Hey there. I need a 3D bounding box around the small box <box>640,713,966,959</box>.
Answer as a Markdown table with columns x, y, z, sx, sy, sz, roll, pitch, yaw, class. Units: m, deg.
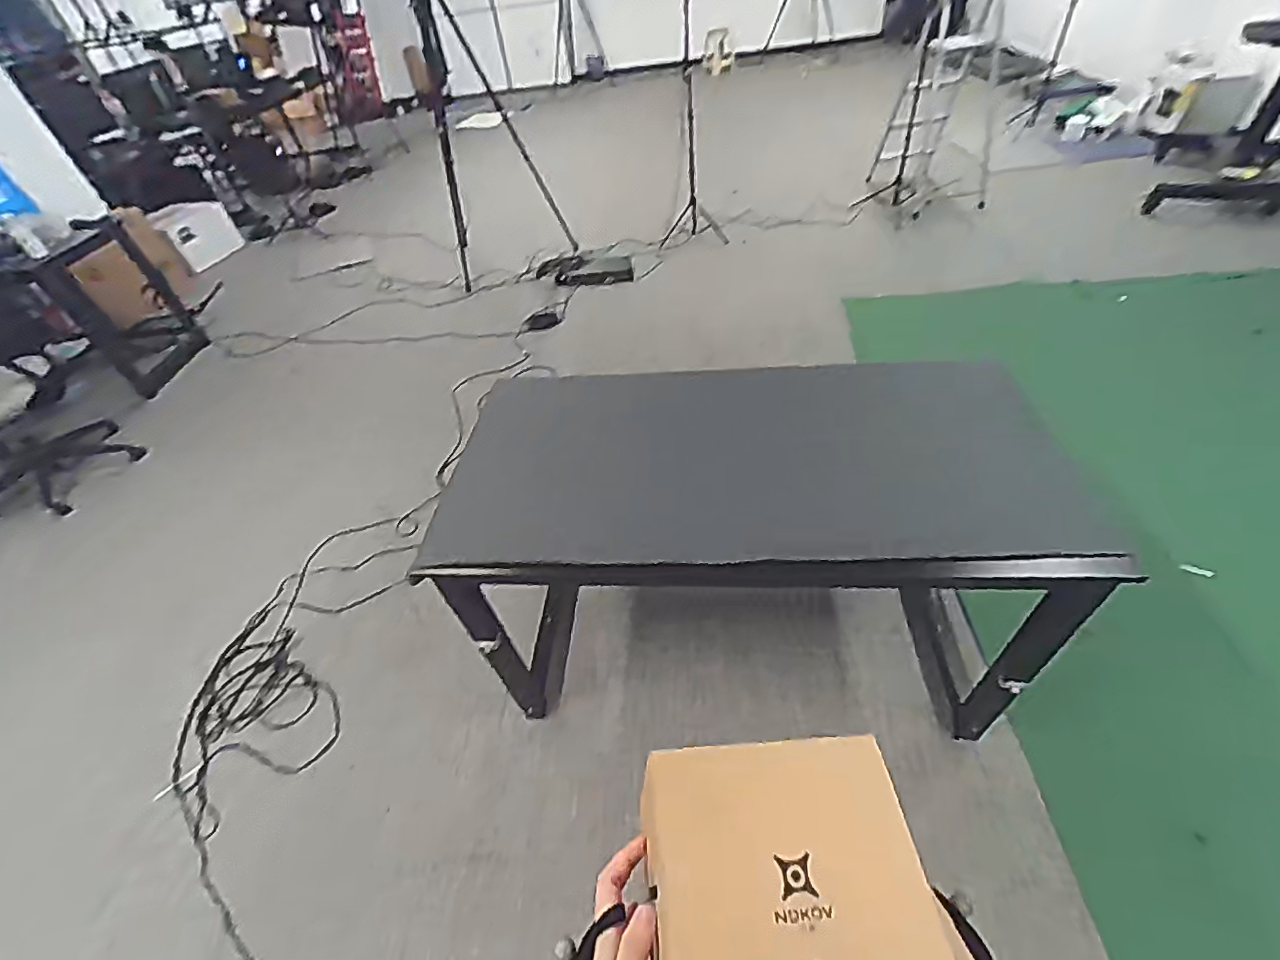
| x | y | z | sx | sy | sz | roll | pitch | yaw | class |
| --- | --- | --- | --- | --- | --- | --- | --- | --- | --- |
| 0.091 | 0.289 | 0.382 | 0.168 | 0.176 | 0.179 | -3 | 46 | -5 | small box |
